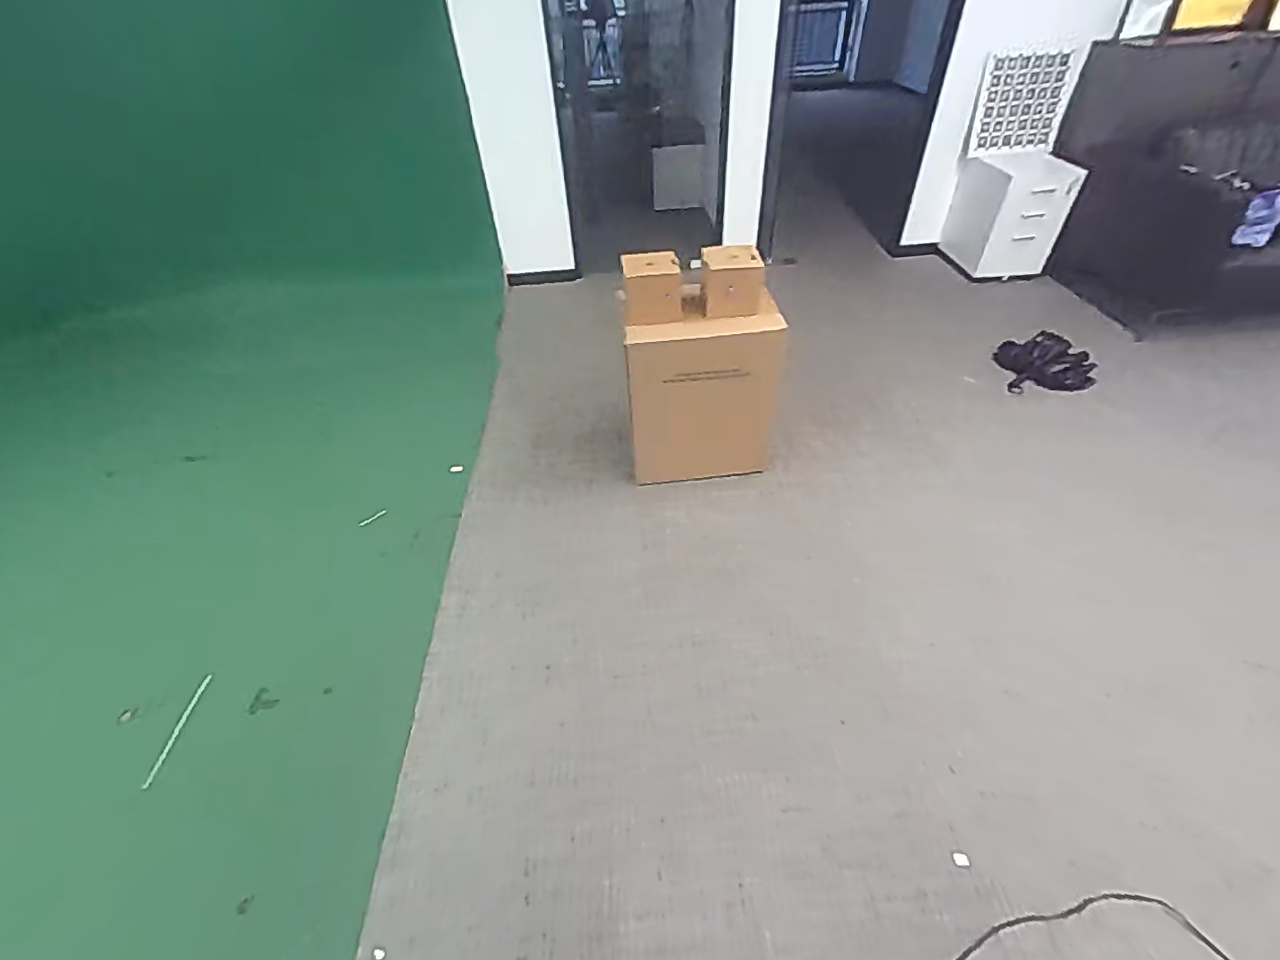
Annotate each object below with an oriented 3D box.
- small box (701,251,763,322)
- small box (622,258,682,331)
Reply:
[{"bbox_3d":[0.299,-0.640,1.801,0.179,0.176,0.168,-5,46,-1],"label":"small box"},{"bbox_3d":[0.038,-0.613,1.790,0.179,0.176,0.168,-7,45,-2],"label":"small box"}]
